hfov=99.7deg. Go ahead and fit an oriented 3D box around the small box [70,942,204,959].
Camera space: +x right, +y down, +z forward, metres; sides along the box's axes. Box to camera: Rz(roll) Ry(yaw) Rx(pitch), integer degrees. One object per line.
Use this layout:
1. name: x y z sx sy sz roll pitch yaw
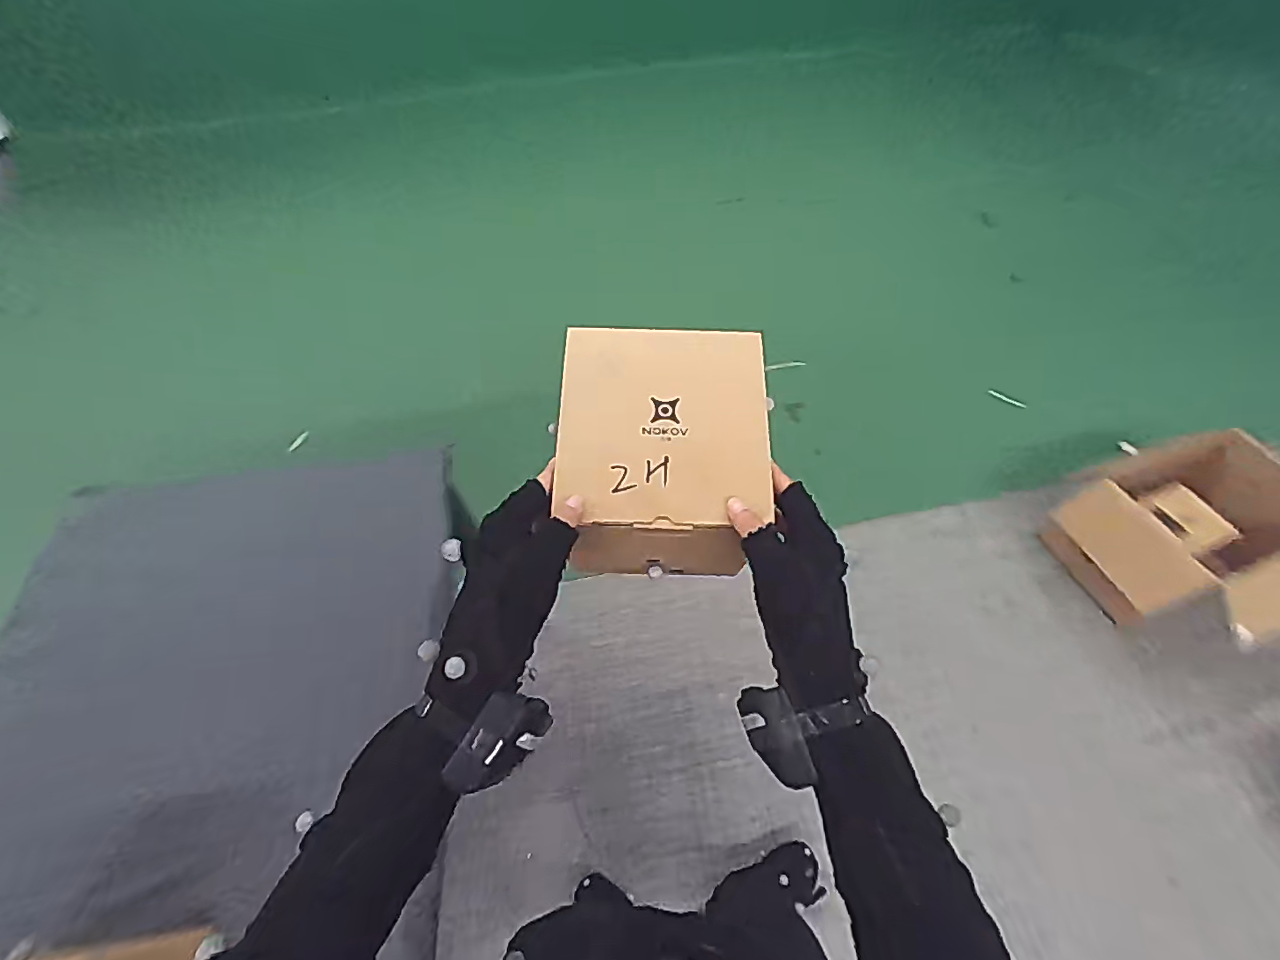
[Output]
1. small box: -0.524 0.509 0.444 0.179 0.176 0.168 -7 57 -3
